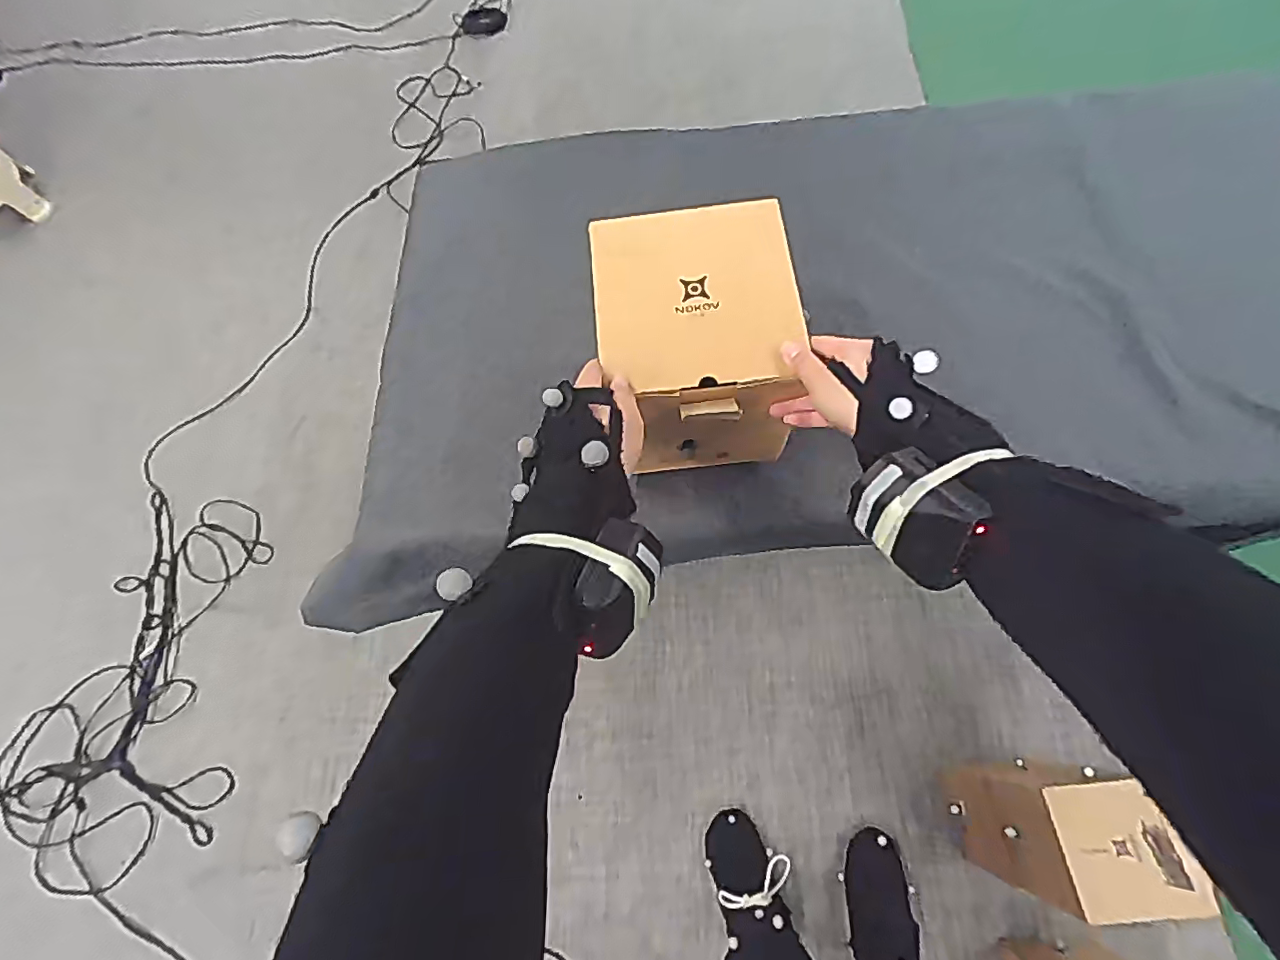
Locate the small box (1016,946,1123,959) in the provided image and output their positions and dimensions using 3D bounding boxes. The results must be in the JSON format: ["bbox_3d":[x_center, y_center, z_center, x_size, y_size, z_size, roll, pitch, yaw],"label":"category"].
[{"bbox_3d":[0.728,0.871,0.851,0.179,0.176,0.168,-3,68,6],"label":"small box"}]

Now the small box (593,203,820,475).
[{"bbox_3d":[0.051,-0.120,0.507,0.168,0.176,0.179,-7,71,1],"label":"small box"}]

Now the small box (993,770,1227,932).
[{"bbox_3d":[0.684,0.544,0.815,0.179,0.176,0.168,-8,66,3],"label":"small box"}]

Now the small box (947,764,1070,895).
[{"bbox_3d":[0.692,0.612,0.965,0.179,0.176,0.168,-8,65,3],"label":"small box"}]
